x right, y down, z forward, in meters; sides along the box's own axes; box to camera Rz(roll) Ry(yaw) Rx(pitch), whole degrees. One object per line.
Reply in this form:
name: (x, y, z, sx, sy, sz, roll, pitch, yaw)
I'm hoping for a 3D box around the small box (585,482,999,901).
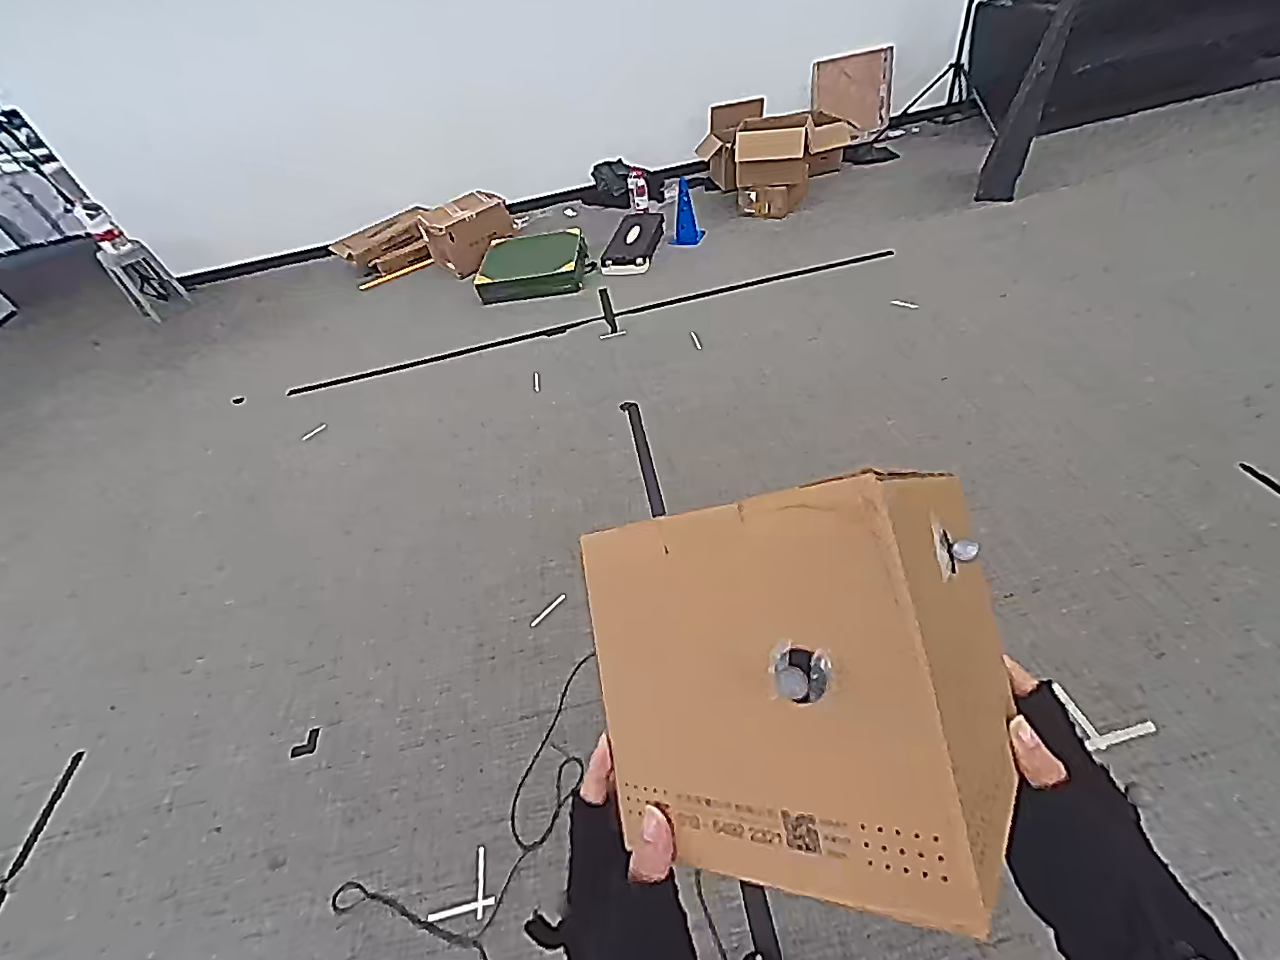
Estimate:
small box: (0.095, 0.103, 0.325, 0.168, 0.179, 0.176, -16, 80, 38)
